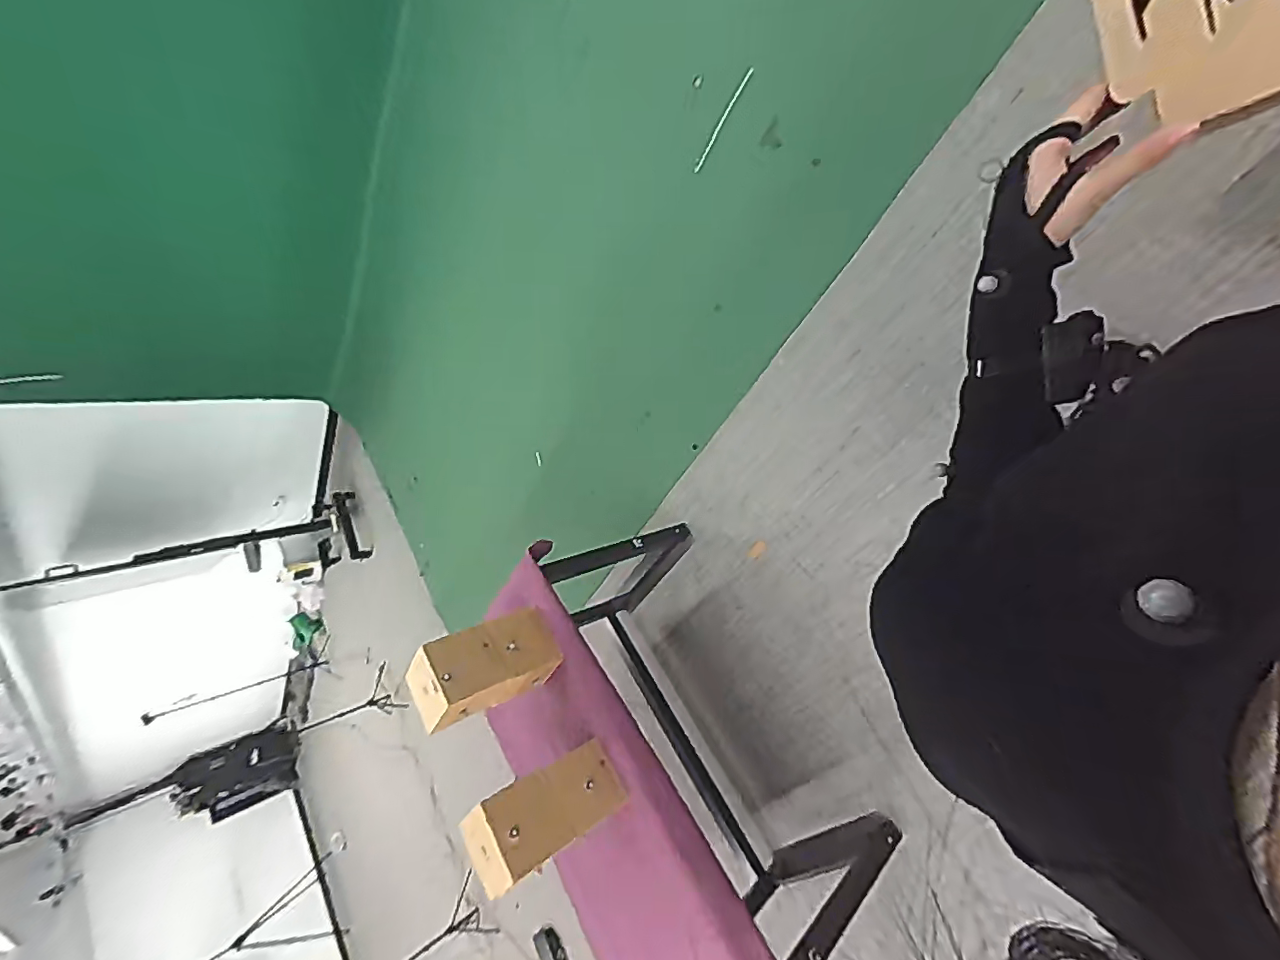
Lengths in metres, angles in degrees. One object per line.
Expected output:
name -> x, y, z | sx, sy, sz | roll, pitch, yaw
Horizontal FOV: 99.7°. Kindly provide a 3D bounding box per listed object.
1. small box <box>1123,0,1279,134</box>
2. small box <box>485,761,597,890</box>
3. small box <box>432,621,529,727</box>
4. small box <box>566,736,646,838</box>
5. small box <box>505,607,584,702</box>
small box -> 0.413, -0.339, 0.323 | 0.179, 0.176, 0.168 | -13, 101, 48
small box -> -0.228, 0.795, 1.253 | 0.179, 0.176, 0.168 | 55, 132, 25
small box -> -0.406, 0.492, 1.384 | 0.168, 0.176, 0.179 | 53, 131, 23
small box -> -0.109, 0.781, 1.364 | 0.168, 0.176, 0.179 | 55, 133, 25
small box -> -0.286, 0.470, 1.494 | 0.179, 0.176, 0.168 | 53, 130, 24
